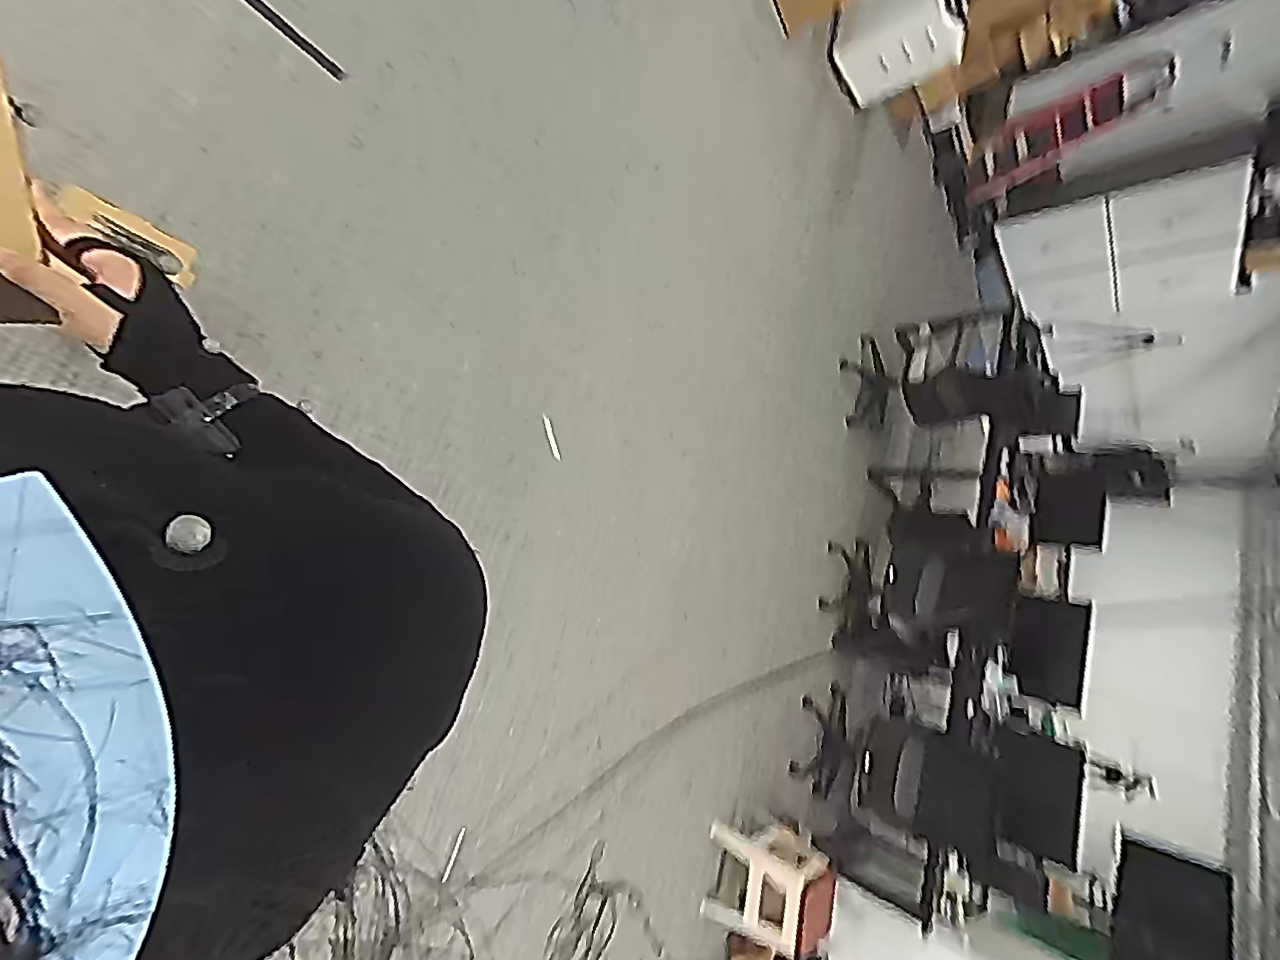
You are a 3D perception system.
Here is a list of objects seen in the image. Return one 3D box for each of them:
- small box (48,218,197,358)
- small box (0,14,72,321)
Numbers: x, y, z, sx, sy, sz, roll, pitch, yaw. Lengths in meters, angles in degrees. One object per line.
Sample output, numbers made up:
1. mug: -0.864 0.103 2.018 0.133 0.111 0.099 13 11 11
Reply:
1. small box: -0.998 -0.355 1.035 0.168 0.176 0.179 30 71 -42
2. small box: -0.539 -0.222 0.381 0.168 0.176 0.179 -15 99 -43
